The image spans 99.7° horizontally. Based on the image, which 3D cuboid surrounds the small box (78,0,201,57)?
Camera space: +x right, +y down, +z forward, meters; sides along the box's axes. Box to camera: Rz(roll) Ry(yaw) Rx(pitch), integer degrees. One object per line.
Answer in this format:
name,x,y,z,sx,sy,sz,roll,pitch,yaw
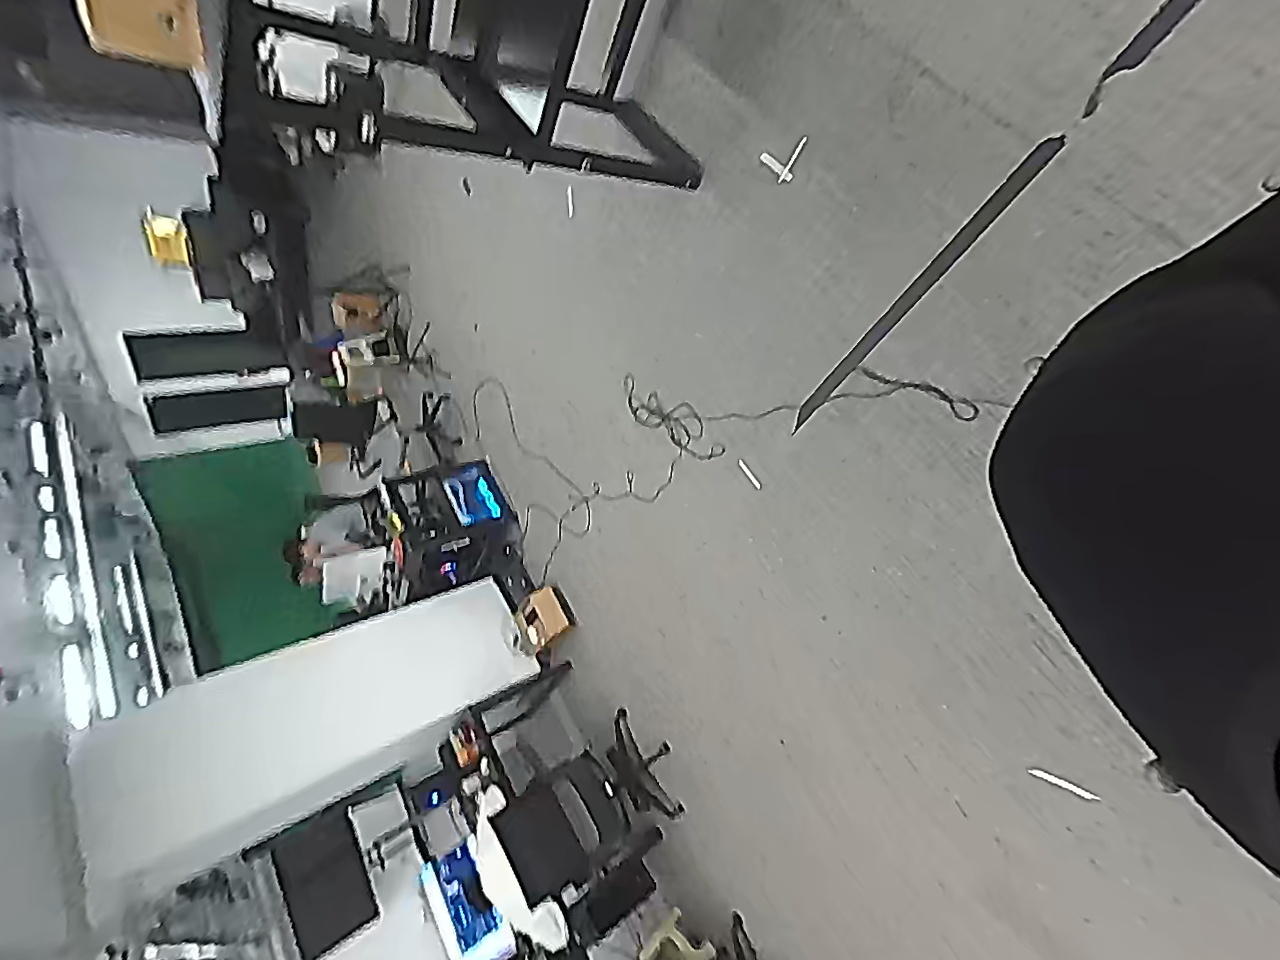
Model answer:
small box,-0.952,-0.936,1.015,0.179,0.176,0.168,53,137,24
